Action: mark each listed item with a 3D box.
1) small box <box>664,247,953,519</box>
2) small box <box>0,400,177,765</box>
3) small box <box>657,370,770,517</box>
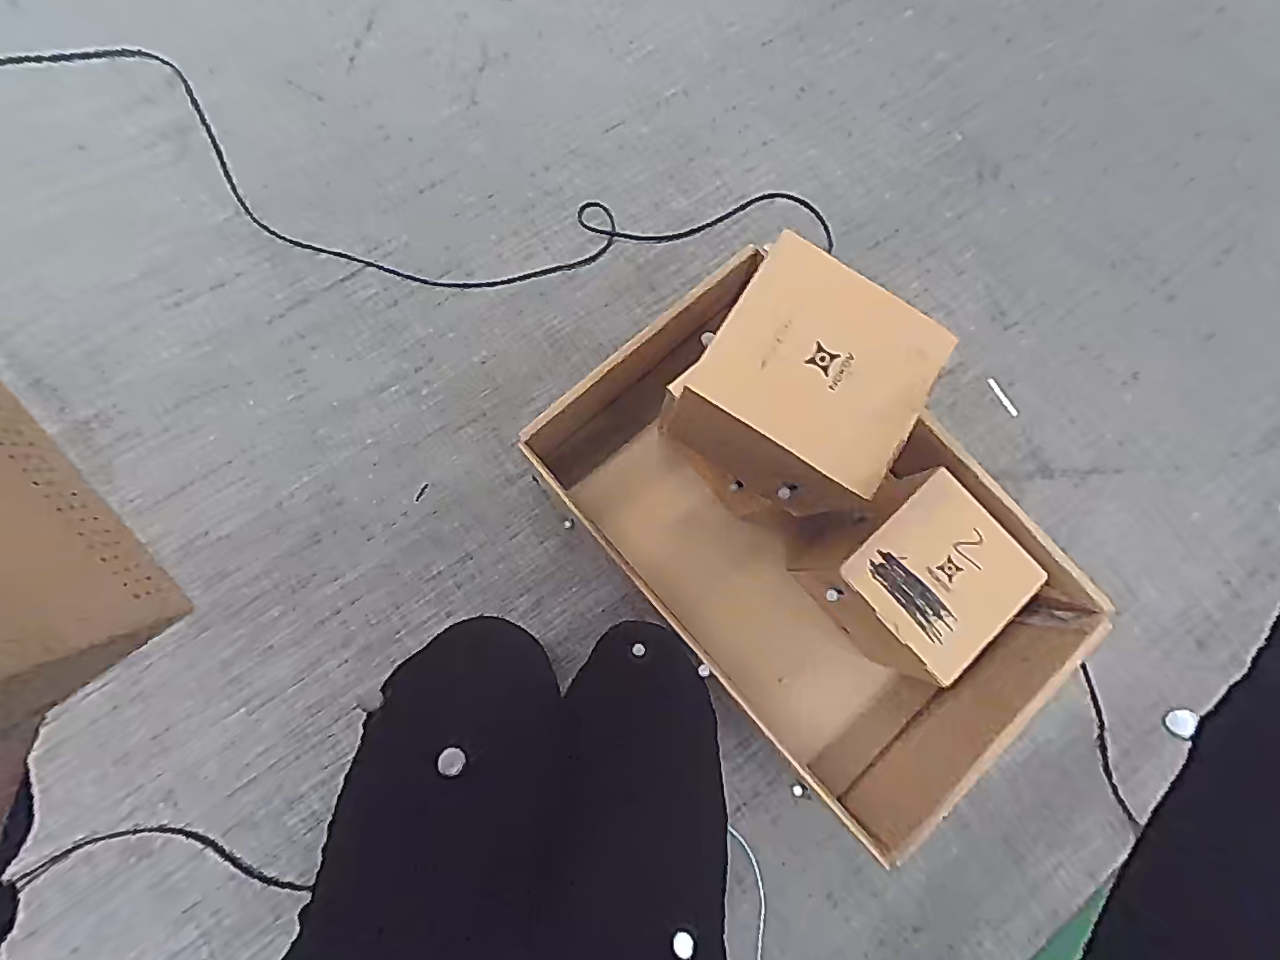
[{"bbox_3d":[0.142,-0.075,0.519,0.179,0.176,0.168,33,81,2],"label":"small box"},{"bbox_3d":[-0.306,0.046,0.152,0.168,0.176,0.179,-36,96,-6],"label":"small box"},{"bbox_3d":[0.138,-0.067,0.683,0.168,0.176,0.179,-40,87,-8],"label":"small box"}]
